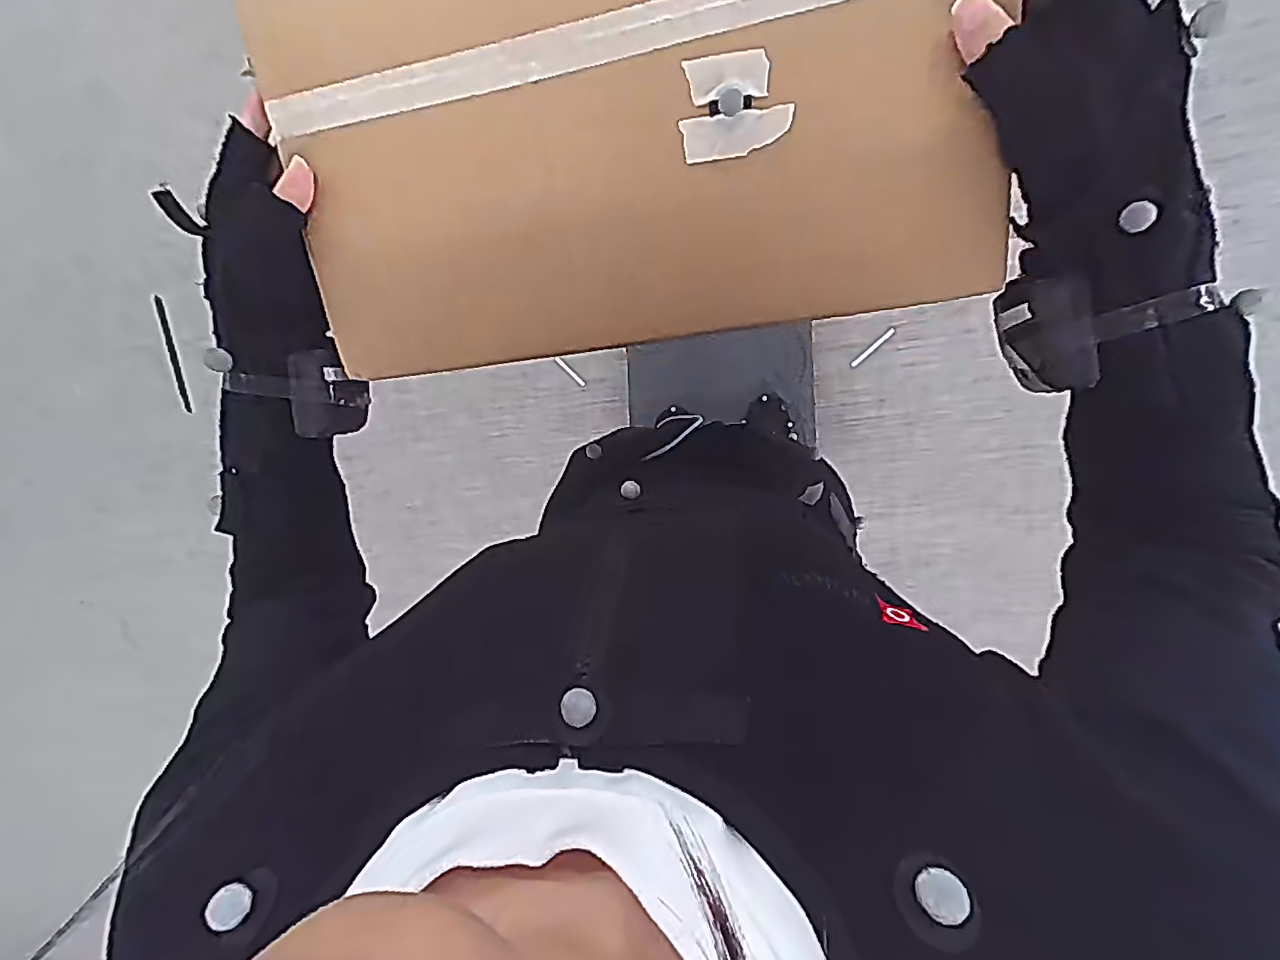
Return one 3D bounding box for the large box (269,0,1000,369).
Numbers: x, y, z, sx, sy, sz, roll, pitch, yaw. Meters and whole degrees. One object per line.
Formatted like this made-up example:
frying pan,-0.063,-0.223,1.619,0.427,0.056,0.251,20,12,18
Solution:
large box,0.003,-0.286,0.441,0.408,0.320,0.320,-6,107,10
